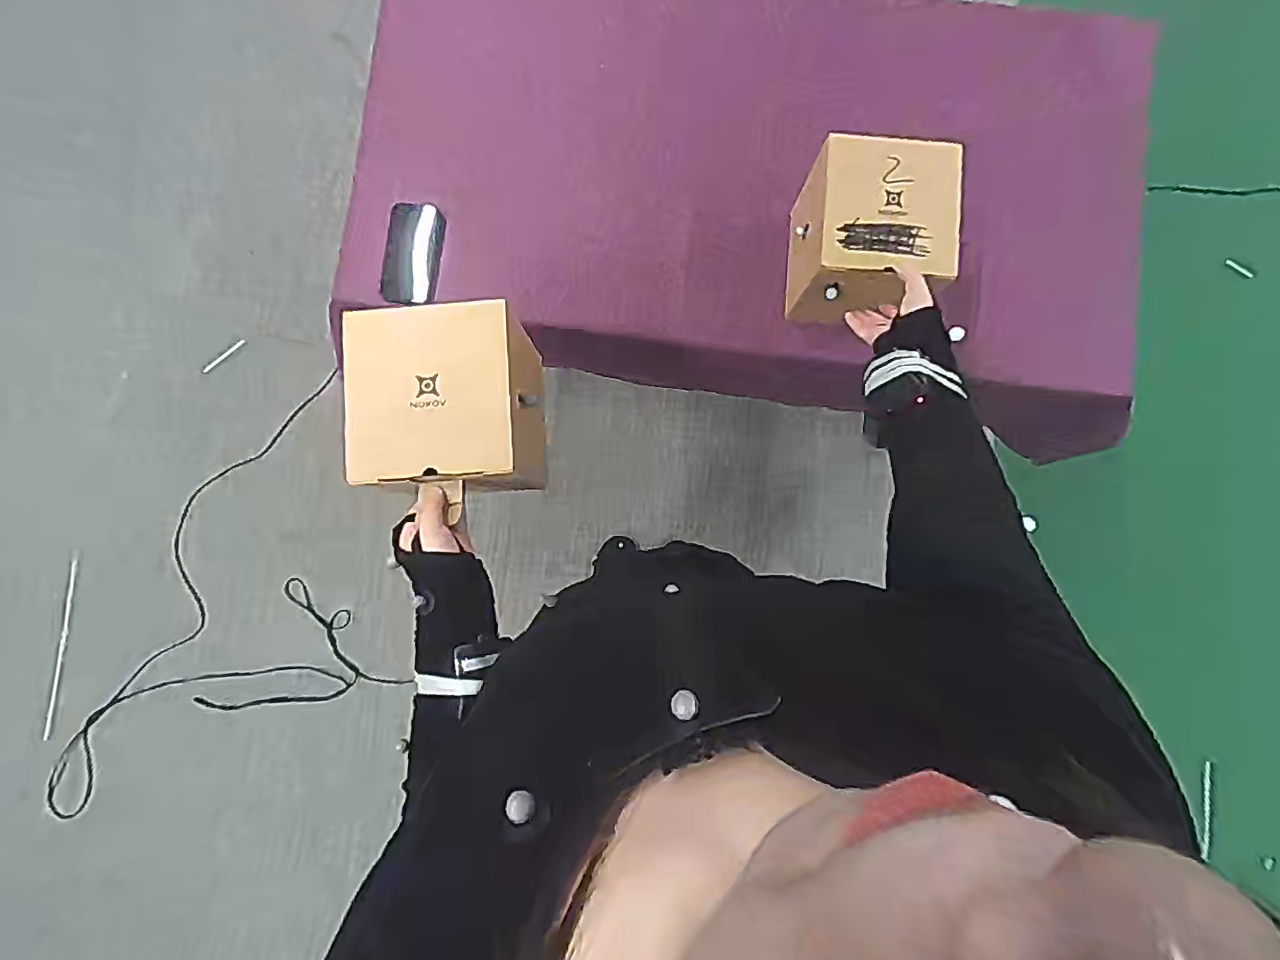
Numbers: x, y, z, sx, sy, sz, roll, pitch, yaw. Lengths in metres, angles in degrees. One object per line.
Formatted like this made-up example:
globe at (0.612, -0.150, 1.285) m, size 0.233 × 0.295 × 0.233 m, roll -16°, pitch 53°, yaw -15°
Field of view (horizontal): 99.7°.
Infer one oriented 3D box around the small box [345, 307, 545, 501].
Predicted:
small box at (-0.205, -0.073, 0.608) m, size 0.168 × 0.176 × 0.179 m, roll -4°, pitch 84°, yaw 0°
